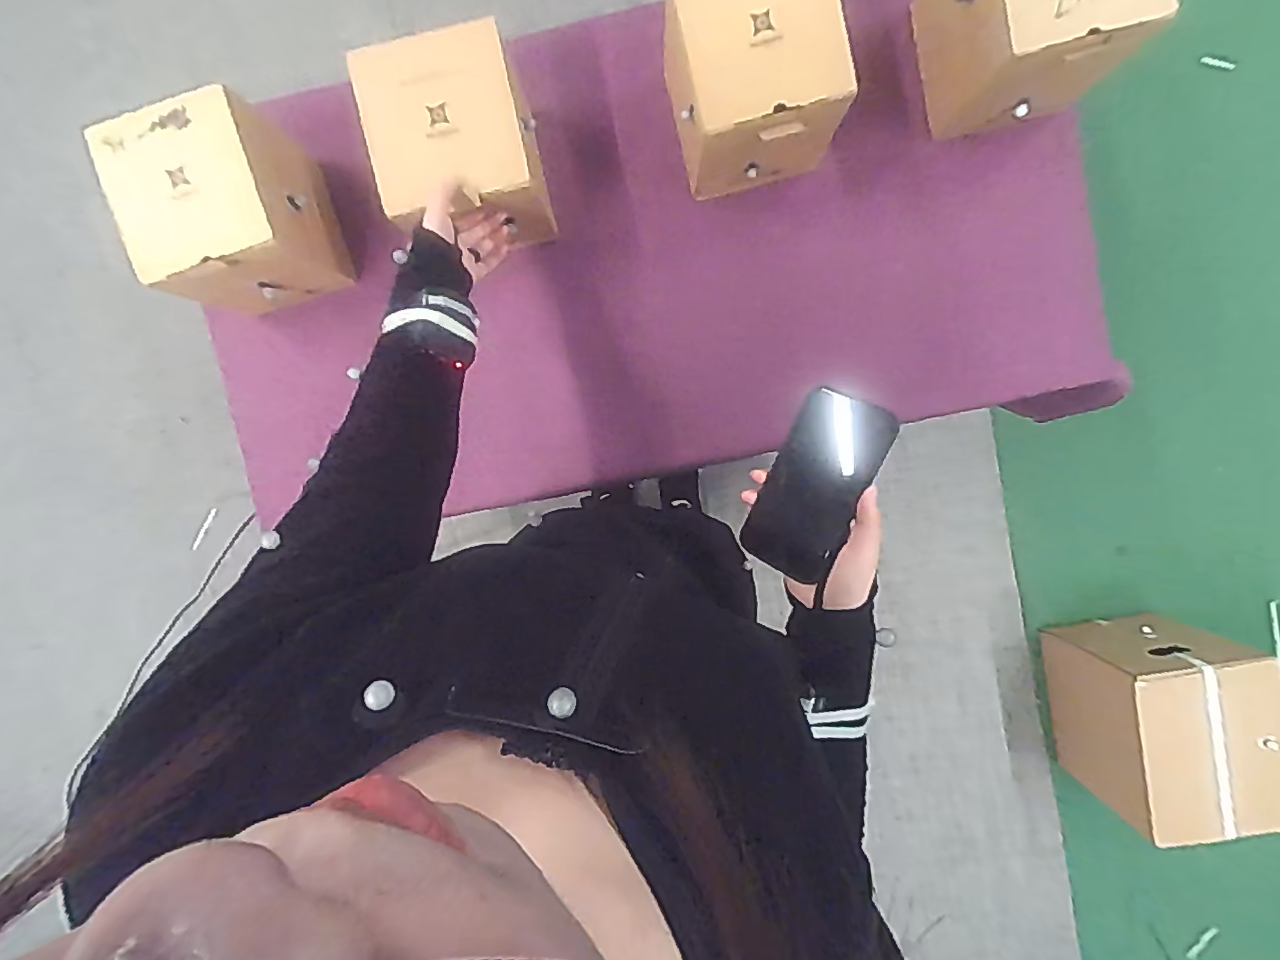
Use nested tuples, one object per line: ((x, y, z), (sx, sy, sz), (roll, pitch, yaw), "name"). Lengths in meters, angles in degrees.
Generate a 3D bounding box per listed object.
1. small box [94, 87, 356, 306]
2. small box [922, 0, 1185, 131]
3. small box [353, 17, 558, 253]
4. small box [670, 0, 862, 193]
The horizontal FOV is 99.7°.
((-0.491, -0.329, 0.672), (0.168, 0.176, 0.179), (-17, 96, 3), "small box")
((0.444, -0.542, 0.610), (0.168, 0.176, 0.179), (-12, 95, 5), "small box")
((-0.206, -0.393, 0.656), (0.168, 0.176, 0.179), (-12, 95, 2), "small box")
((0.133, -0.476, 0.634), (0.168, 0.176, 0.179), (-14, 95, 4), "small box")
